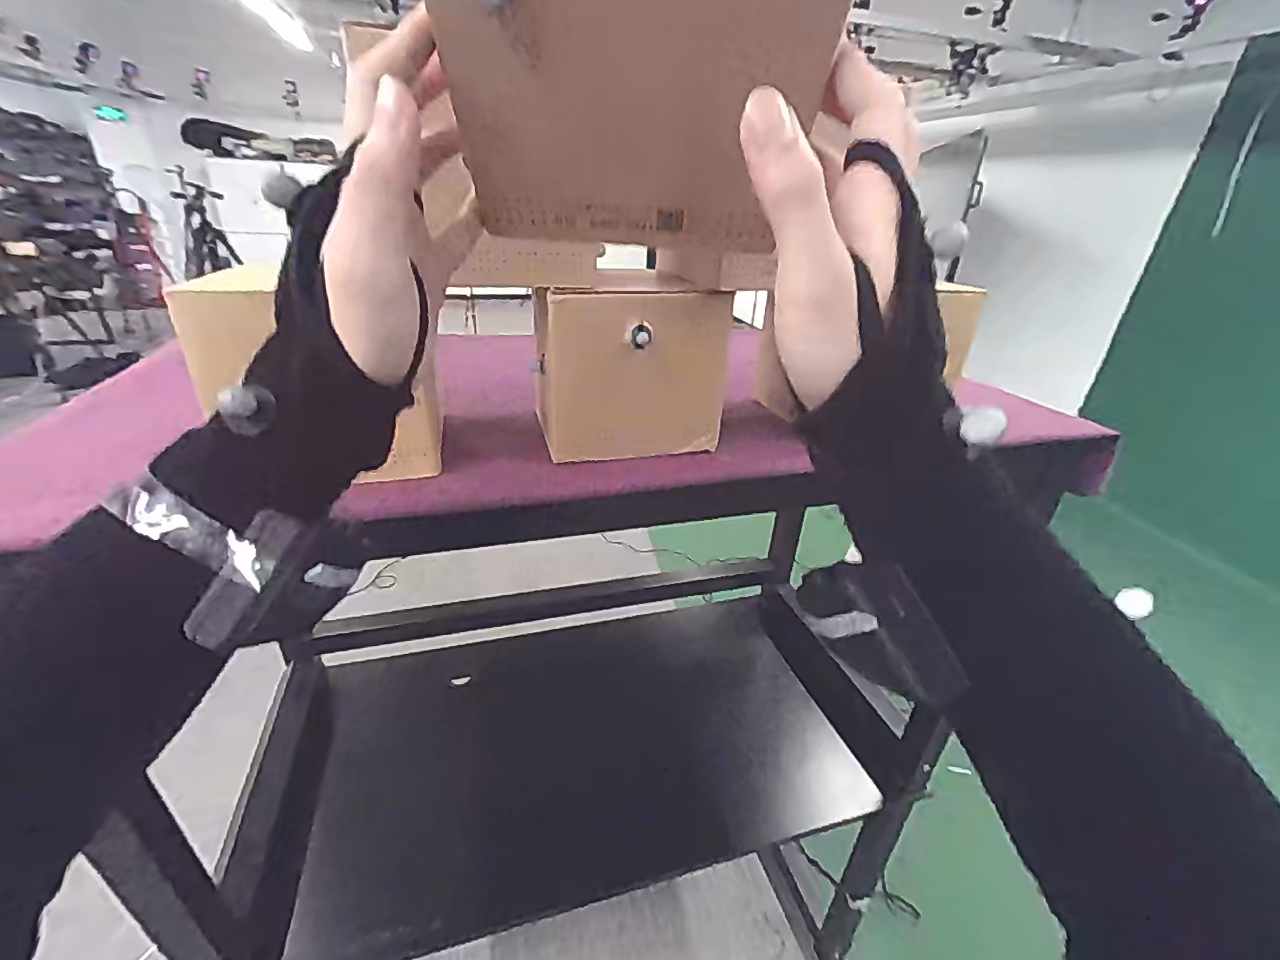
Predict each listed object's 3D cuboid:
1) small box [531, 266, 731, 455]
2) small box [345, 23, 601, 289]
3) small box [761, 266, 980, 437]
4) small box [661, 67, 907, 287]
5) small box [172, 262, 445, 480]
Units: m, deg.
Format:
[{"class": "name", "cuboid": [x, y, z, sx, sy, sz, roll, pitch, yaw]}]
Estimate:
[{"class": "small box", "cuboid": [-0.018, -0.134, 0.585, 0.179, 0.176, 0.168, -5, 28, -15]}, {"class": "small box", "cuboid": [-0.139, -0.271, 0.482, 0.179, 0.176, 0.168, -7, 29, -17]}, {"class": "small box", "cuboid": [0.262, -0.160, 0.661, 0.179, 0.176, 0.168, -7, 30, -16]}, {"class": "small box", "cuboid": [0.126, -0.292, 0.546, 0.168, 0.176, 0.179, -6, 28, -16]}, {"class": "small box", "cuboid": [-0.280, -0.106, 0.509, 0.168, 0.176, 0.179, -6, 28, -17]}]
